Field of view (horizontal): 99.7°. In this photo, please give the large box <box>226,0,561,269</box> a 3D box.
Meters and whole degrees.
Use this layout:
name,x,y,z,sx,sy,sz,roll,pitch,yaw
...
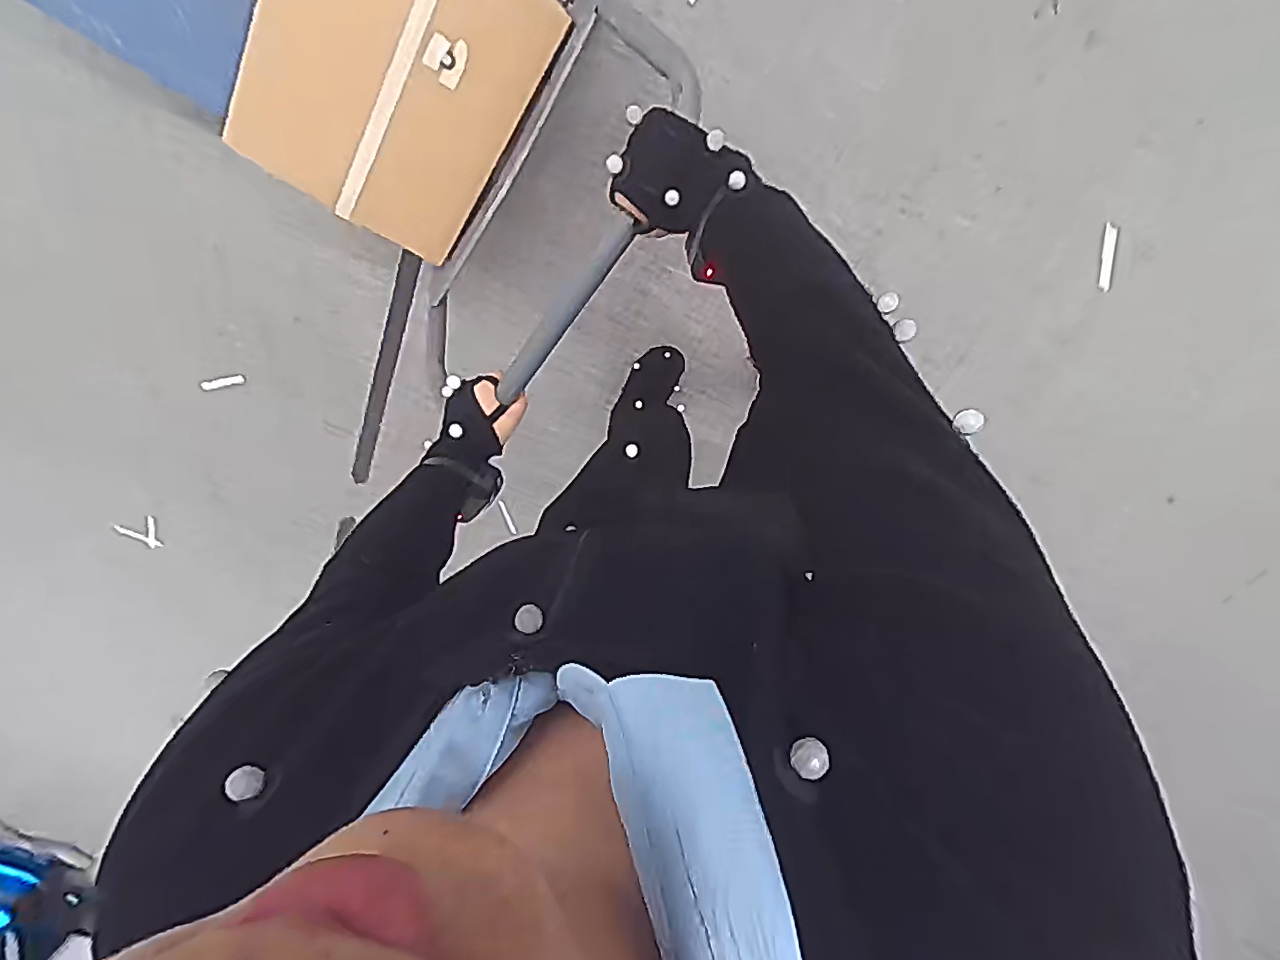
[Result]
name,x,y,z,sx,sy,sz,roll,pitch,yaw
large box,-0.360,-0.624,0.828,0.320,0.320,0.408,23,124,-32
